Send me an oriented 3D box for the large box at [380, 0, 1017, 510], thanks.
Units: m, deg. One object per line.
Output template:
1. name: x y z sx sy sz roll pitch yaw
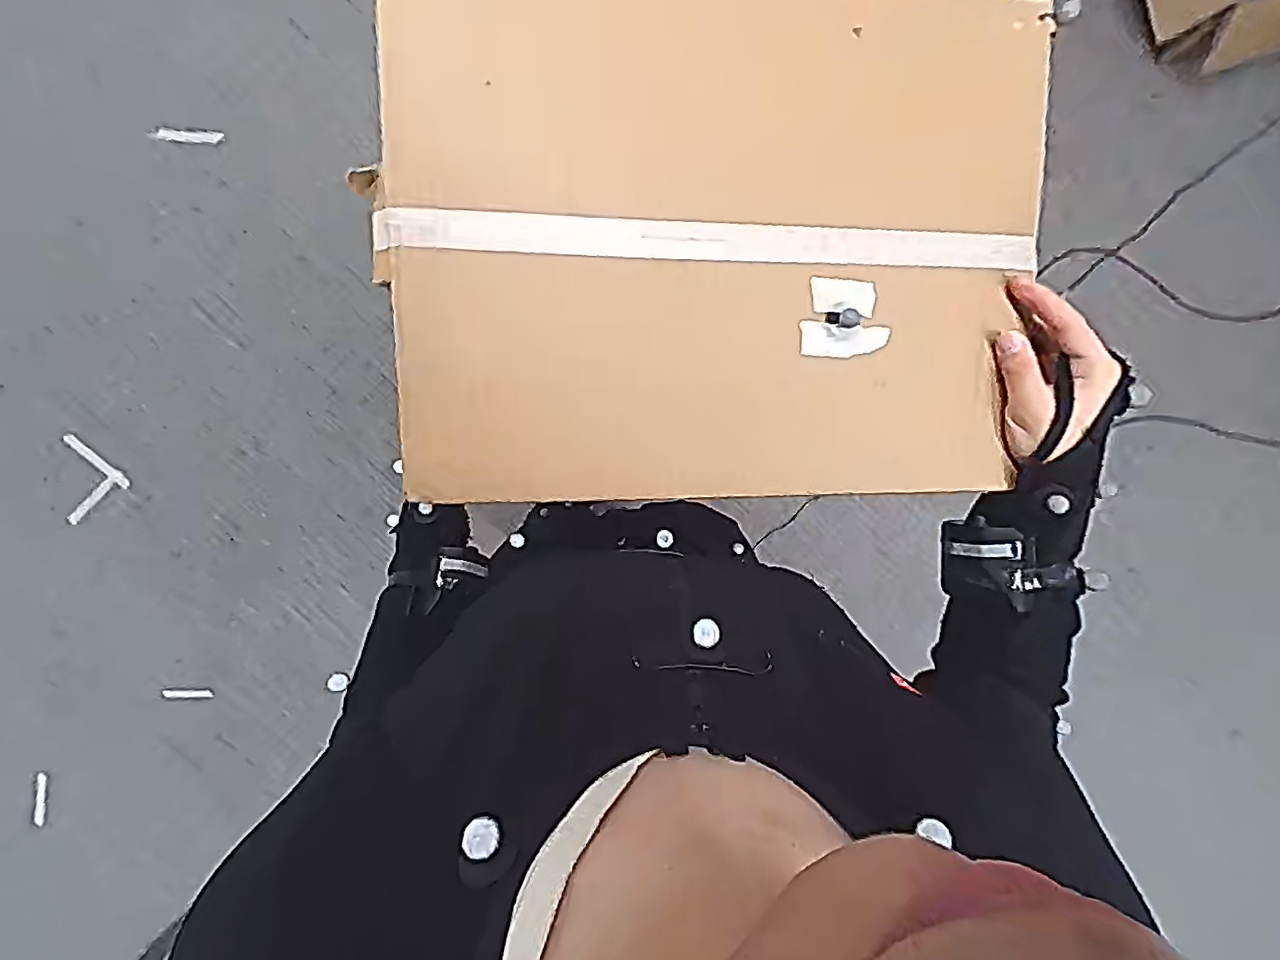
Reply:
1. large box: 0.032 -0.161 0.487 0.408 0.320 0.320 -3 98 -9
